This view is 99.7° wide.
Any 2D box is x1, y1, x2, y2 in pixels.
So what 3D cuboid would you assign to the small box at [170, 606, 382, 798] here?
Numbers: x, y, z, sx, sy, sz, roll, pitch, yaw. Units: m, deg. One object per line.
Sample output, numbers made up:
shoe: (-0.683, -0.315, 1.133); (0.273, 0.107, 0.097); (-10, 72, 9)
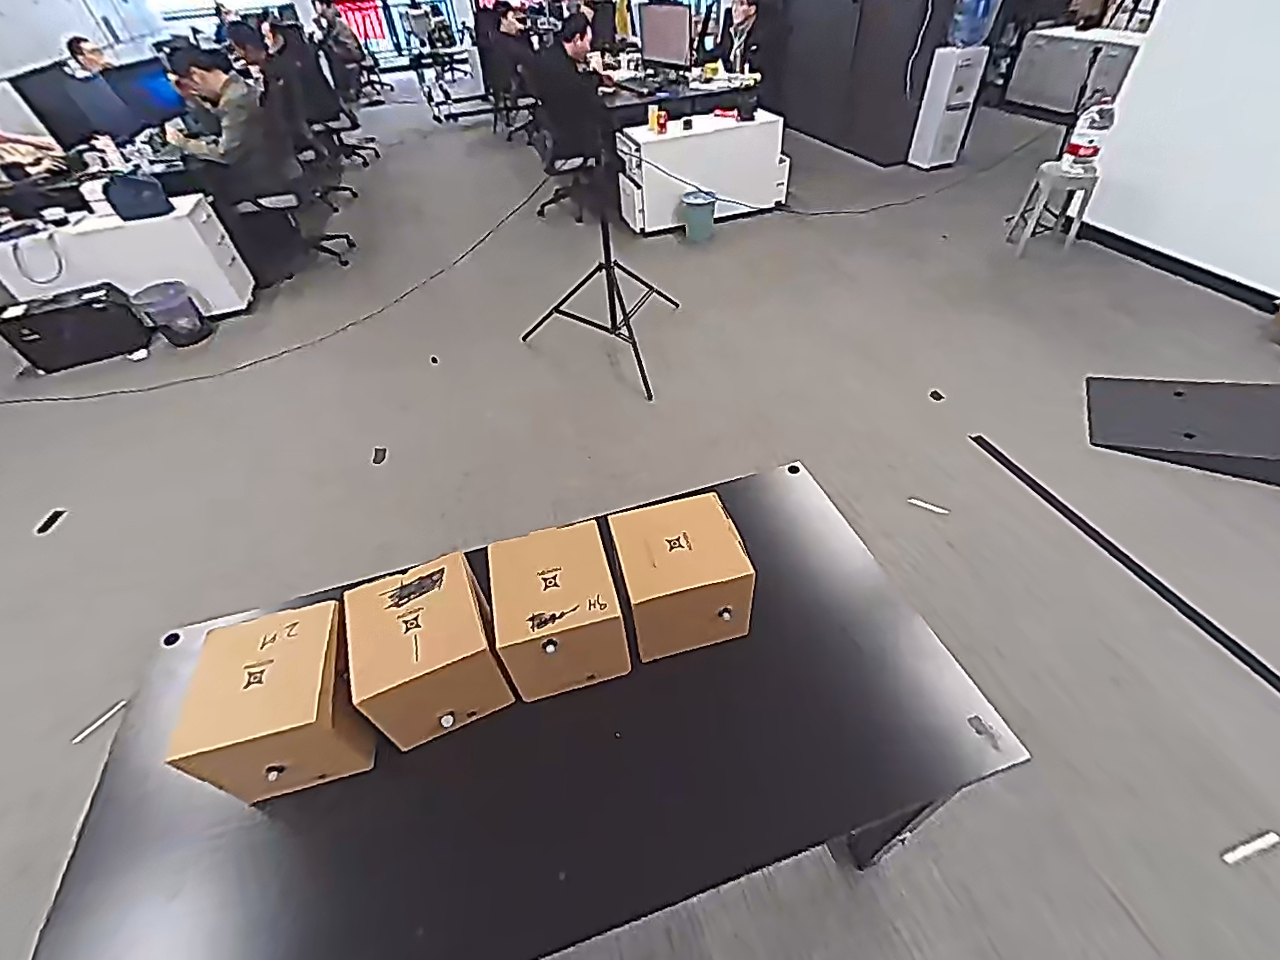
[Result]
small box: (-0.469, 0.306, 0.734); (0.168, 0.176, 0.179); (-13, 44, -8)
